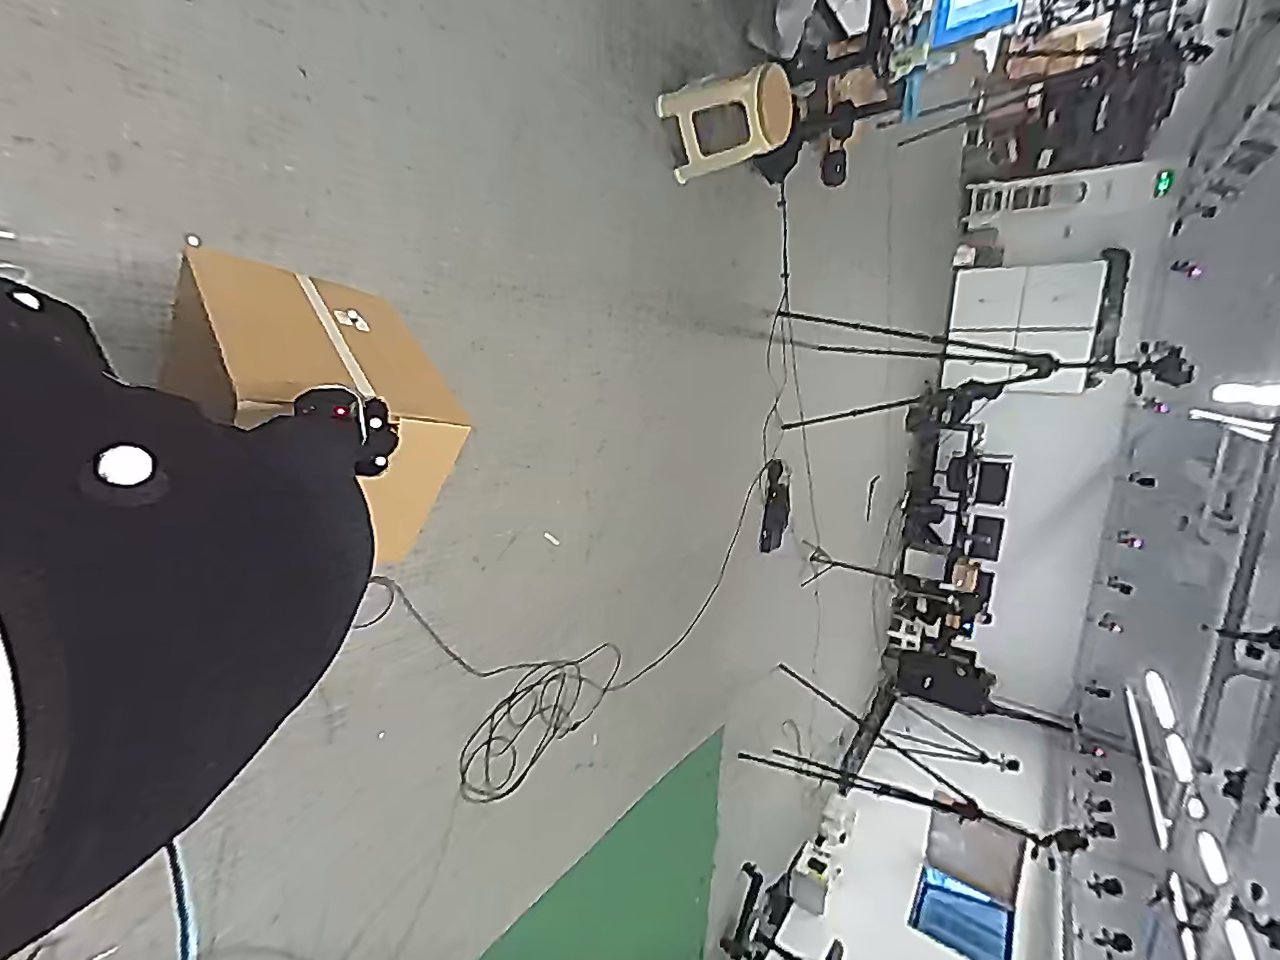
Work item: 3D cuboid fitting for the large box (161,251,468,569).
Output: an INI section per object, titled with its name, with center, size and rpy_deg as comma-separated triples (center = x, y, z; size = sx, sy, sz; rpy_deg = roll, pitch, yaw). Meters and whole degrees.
[large box]
center = -0.561, -0.109, 0.912
size = 0.320, 0.408, 0.320
rpy_deg = 3, 128, -51
